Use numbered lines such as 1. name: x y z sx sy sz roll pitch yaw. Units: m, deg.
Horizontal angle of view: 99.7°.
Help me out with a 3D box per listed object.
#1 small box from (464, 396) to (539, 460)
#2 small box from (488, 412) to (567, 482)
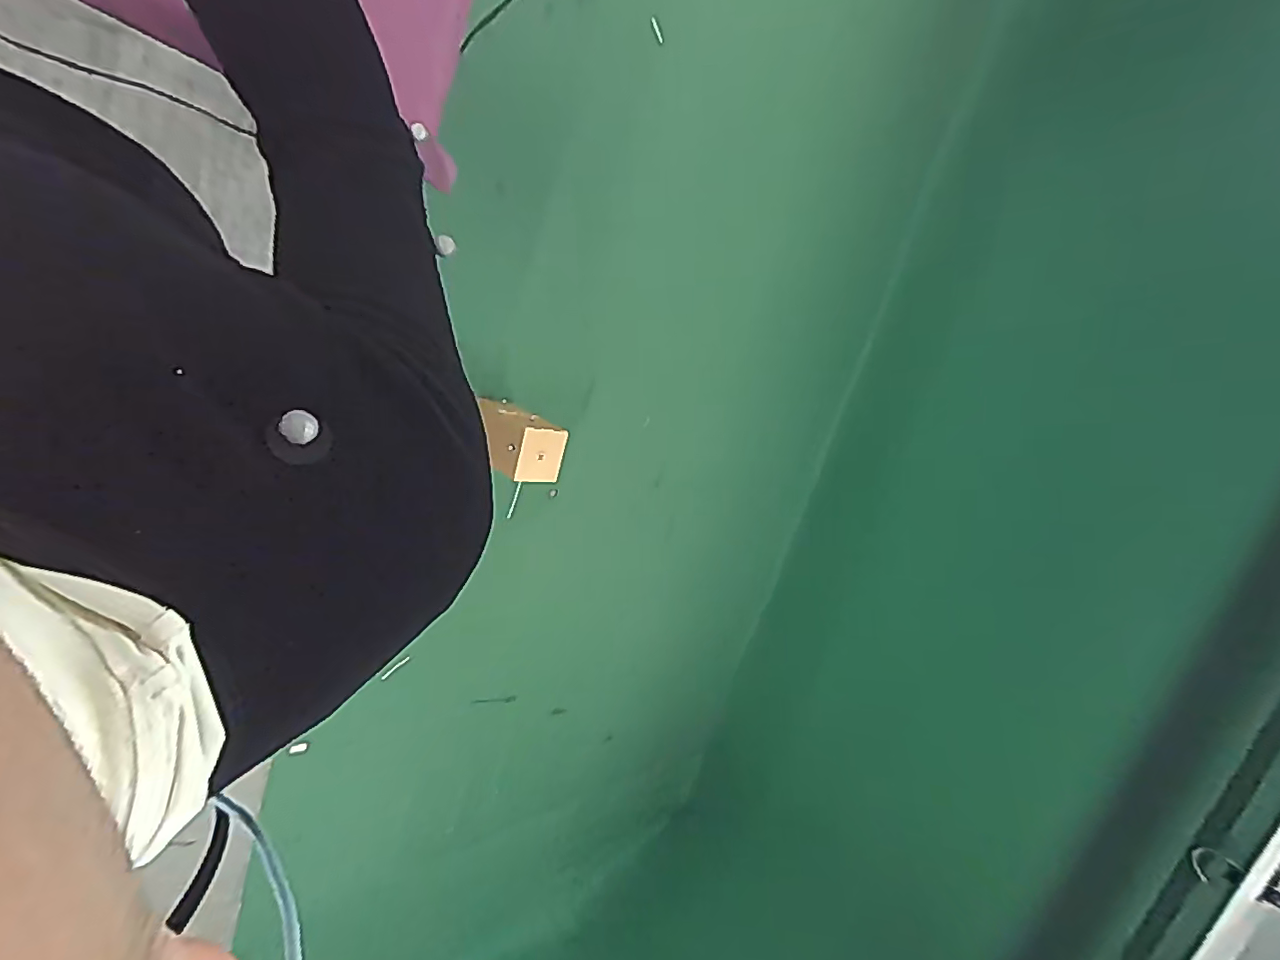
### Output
1. small box: -0.475 -0.168 1.833 0.168 0.176 0.179 6 106 -48
2. small box: -0.365 -0.104 1.731 0.168 0.176 0.179 2 109 -47
